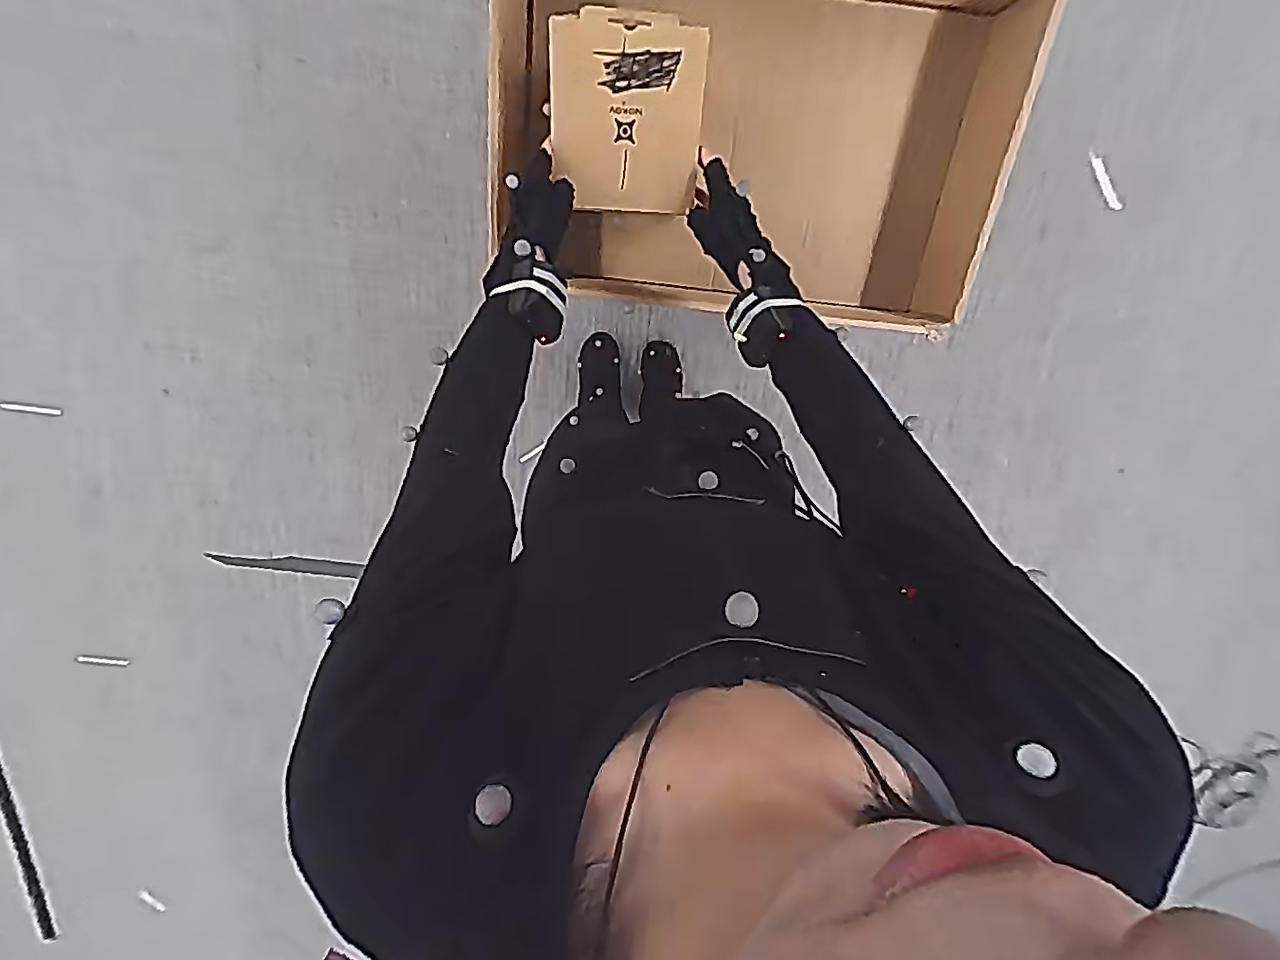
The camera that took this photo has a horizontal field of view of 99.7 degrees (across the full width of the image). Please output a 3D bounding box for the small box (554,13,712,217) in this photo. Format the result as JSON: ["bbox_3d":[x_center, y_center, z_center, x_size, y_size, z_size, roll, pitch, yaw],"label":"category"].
[{"bbox_3d":[-0.015,-0.425,0.659,0.168,0.176,0.179,2,116,-2],"label":"small box"}]
